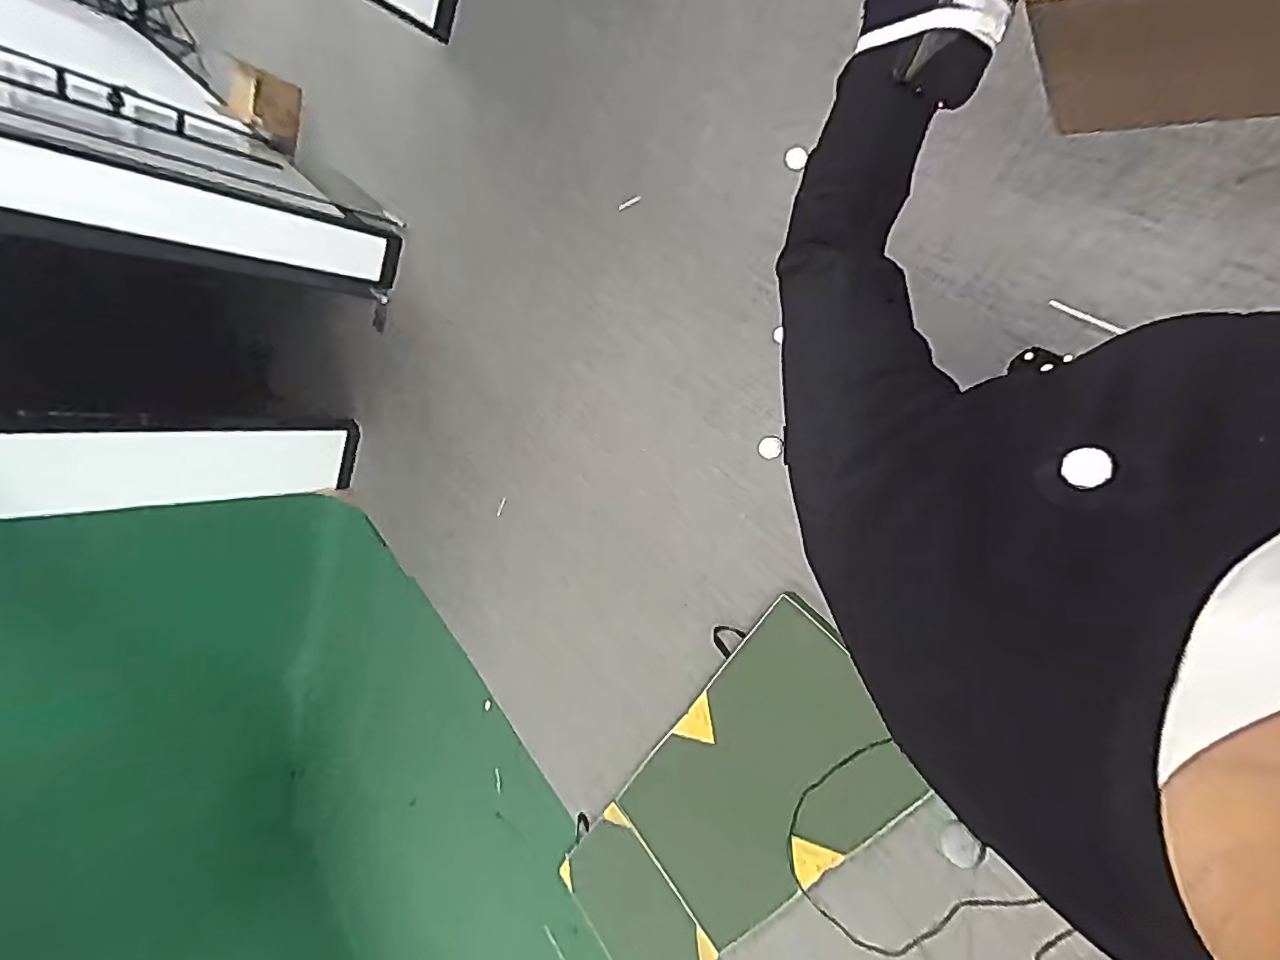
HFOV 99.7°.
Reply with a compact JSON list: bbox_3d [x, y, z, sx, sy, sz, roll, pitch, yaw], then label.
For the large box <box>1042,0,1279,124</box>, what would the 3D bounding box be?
[{"bbox_3d":[0.501,-0.440,0.294,0.408,0.320,0.320,17,112,35],"label":"large box"}]
